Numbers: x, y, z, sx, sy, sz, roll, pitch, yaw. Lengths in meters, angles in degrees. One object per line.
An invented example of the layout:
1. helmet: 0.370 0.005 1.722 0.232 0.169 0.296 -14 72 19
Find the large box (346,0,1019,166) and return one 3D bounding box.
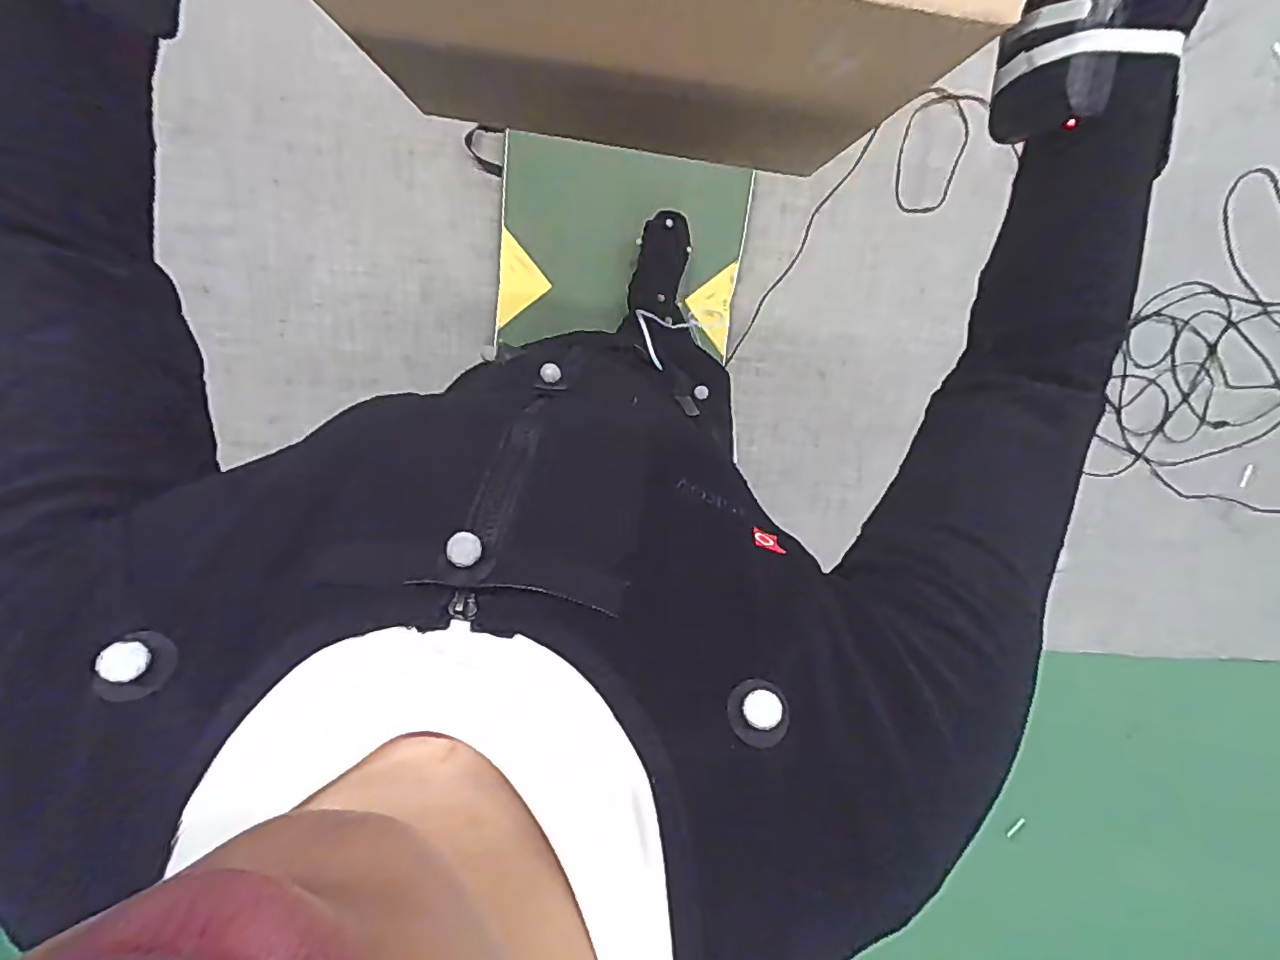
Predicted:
1. large box: 0.013 -0.451 0.373 0.408 0.320 0.320 6 106 -5
